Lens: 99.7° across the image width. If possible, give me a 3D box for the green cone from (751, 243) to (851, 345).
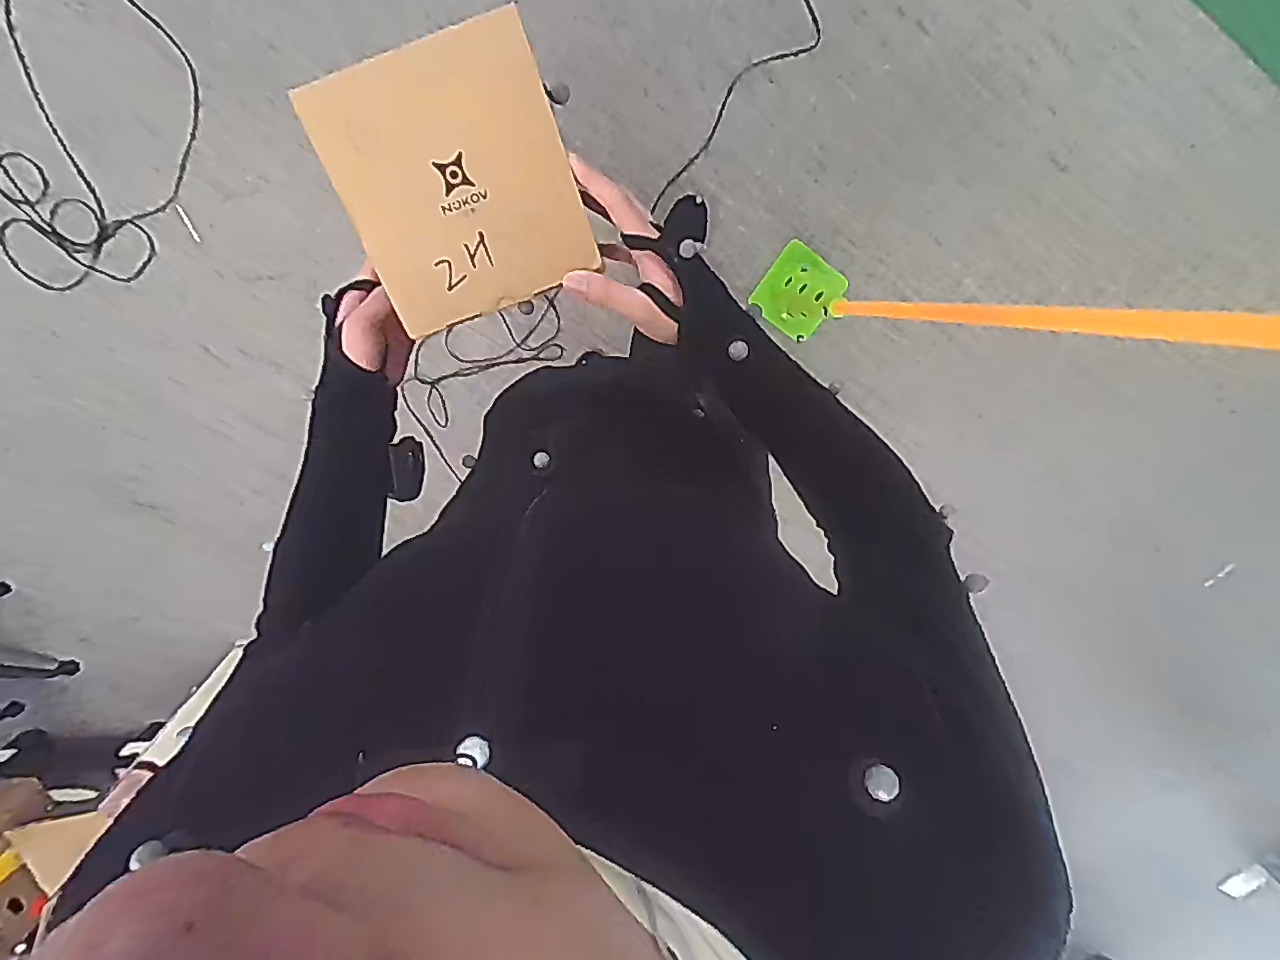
[{"bbox_3d":[0.416,-0.419,1.256,0.202,0.368,0.200,32,109,-11],"label":"green cone"}]
